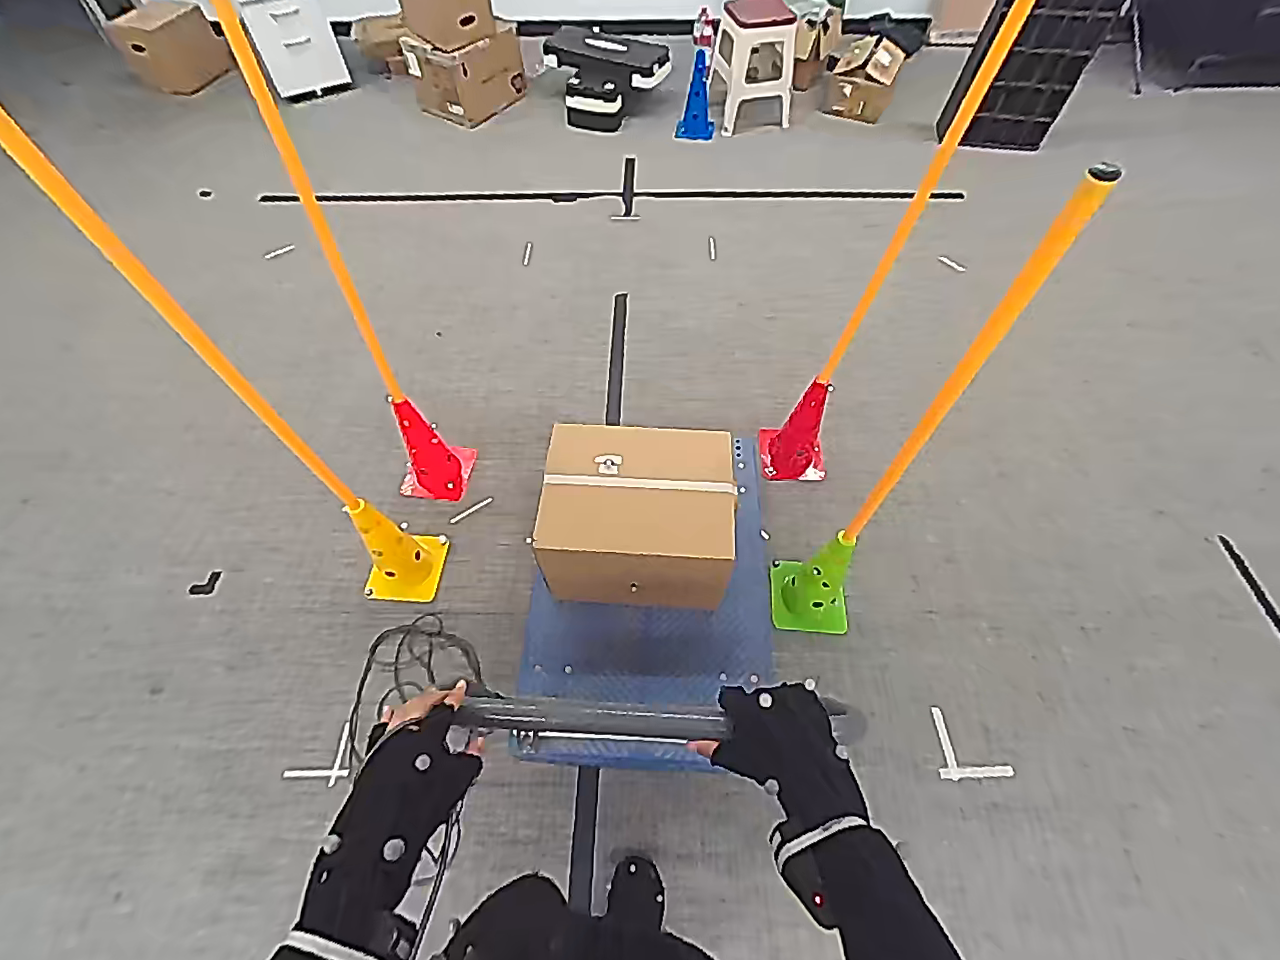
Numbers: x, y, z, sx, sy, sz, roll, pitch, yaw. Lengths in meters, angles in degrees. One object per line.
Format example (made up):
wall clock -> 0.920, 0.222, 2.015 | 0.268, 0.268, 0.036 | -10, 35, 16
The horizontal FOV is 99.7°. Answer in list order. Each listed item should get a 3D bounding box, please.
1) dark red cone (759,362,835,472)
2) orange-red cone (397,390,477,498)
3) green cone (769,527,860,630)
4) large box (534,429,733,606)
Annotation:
dark red cone -> 0.496, -0.197, 1.607 | 0.201, 0.394, 0.202 | 2, 58, -1
orange-red cone -> -0.636, -0.131, 1.589 | 0.198, 0.360, 0.199 | 8, 57, 4
green cone -> 0.466, 0.221, 1.362 | 0.202, 0.368, 0.200 | 5, 58, 2
large box -> -0.002, 0.097, 1.272 | 0.408, 0.320, 0.320 | 3, 58, 3
